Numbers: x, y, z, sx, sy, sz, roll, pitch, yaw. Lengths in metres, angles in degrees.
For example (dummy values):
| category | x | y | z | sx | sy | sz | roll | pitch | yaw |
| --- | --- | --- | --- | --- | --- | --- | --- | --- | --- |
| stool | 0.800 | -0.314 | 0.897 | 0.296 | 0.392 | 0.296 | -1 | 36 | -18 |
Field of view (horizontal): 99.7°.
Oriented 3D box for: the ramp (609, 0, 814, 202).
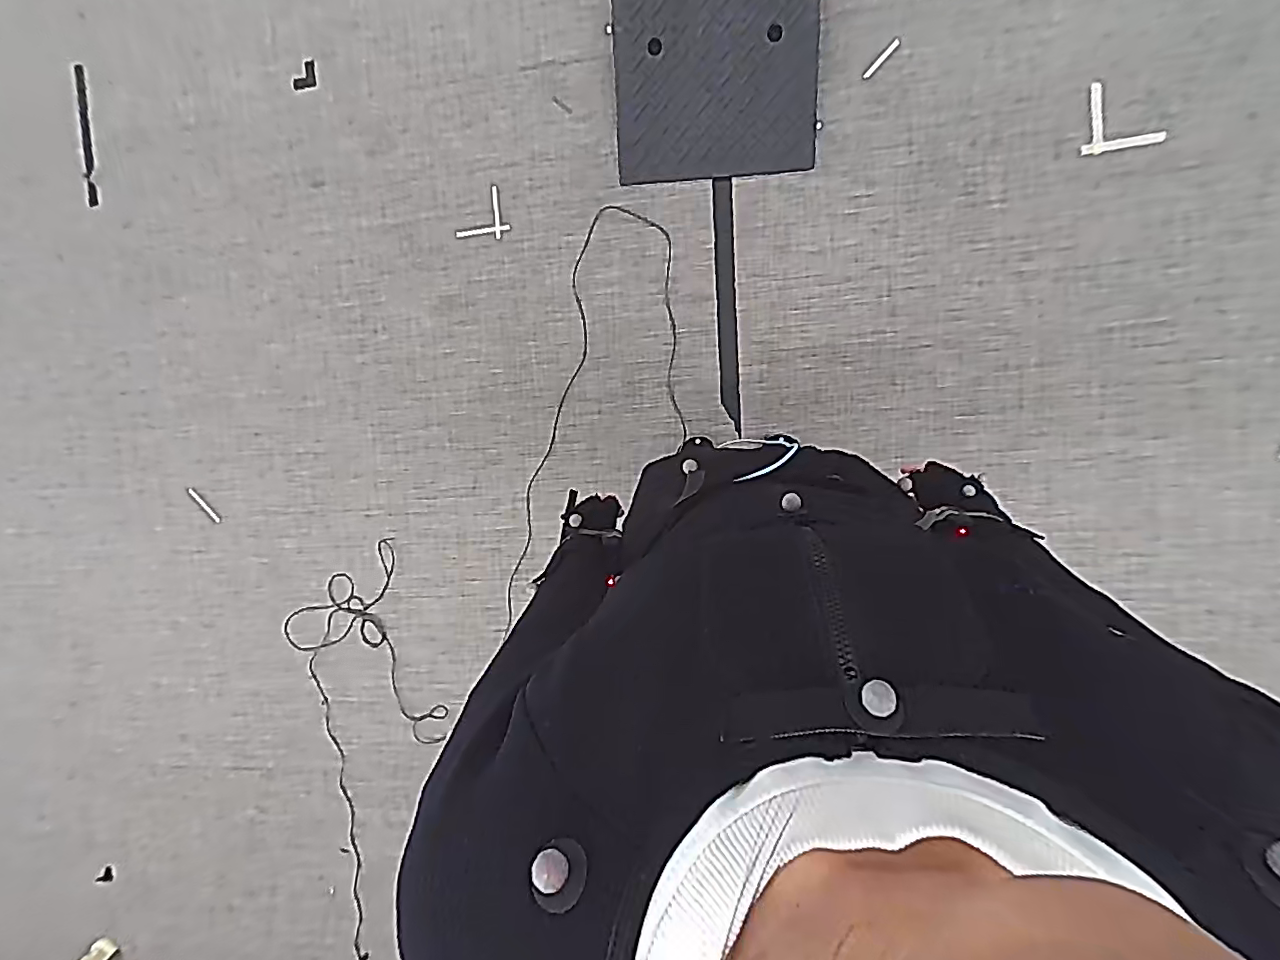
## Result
| category | x | y | z | sx | sy | sz | roll | pitch | yaw |
| --- | --- | --- | --- | --- | --- | --- | --- | --- | --- |
| ramp | 0.163 | -1.230 | 1.284 | 0.509 | 0.206 | 0.991 | -4 | 94 | 8 |
